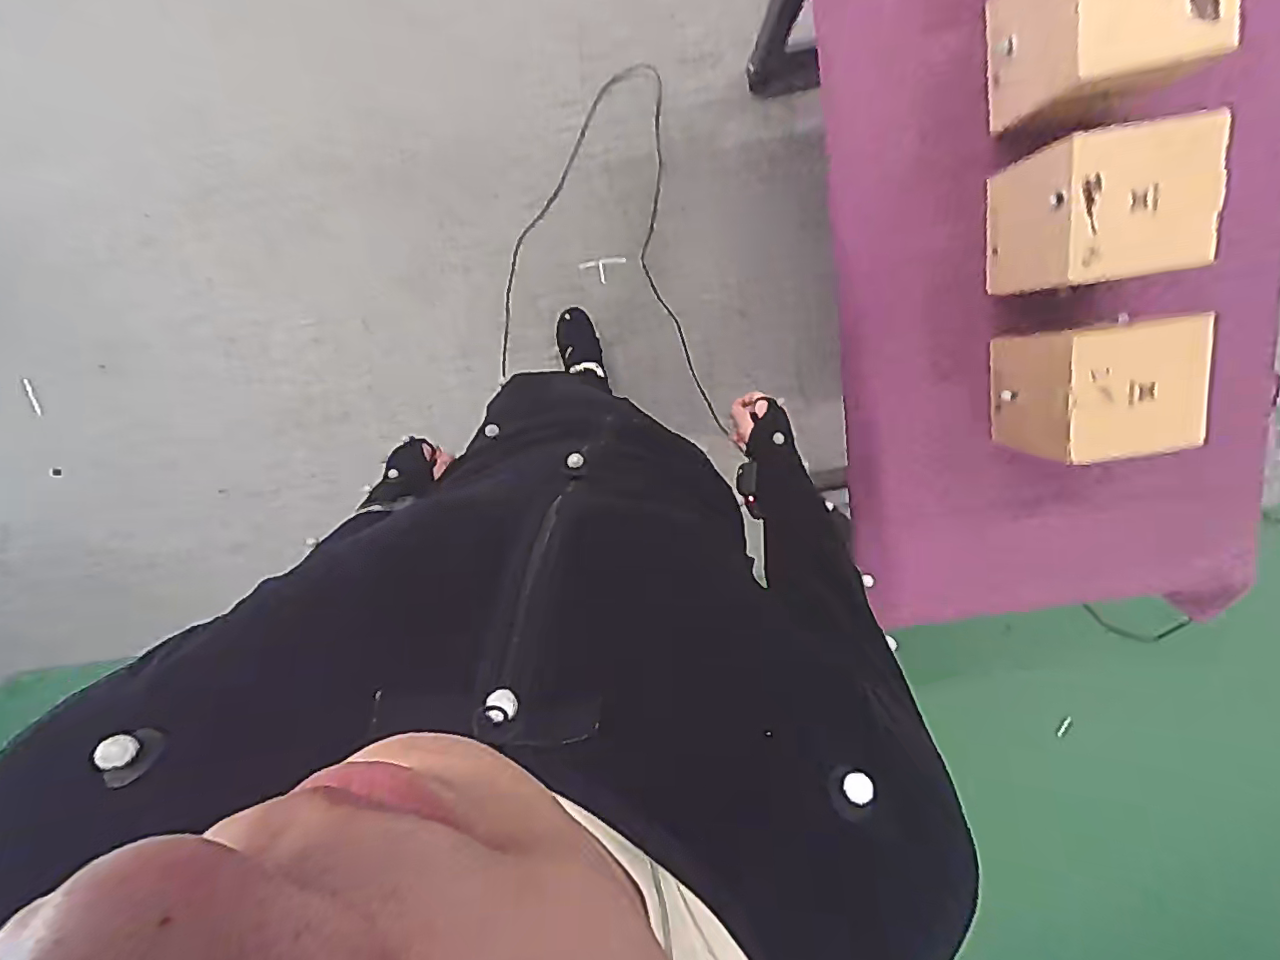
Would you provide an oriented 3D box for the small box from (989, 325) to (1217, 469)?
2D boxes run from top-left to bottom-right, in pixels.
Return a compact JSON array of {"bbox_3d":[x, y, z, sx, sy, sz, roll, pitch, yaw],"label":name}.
[{"bbox_3d":[0.631,-0.122,0.760,0.179,0.176,0.168,-8,103,4],"label":"small box"}]

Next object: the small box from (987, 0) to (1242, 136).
[{"bbox_3d":[0.560,-0.552,0.659,0.179,0.176,0.168,-9,103,5],"label":"small box"}]
